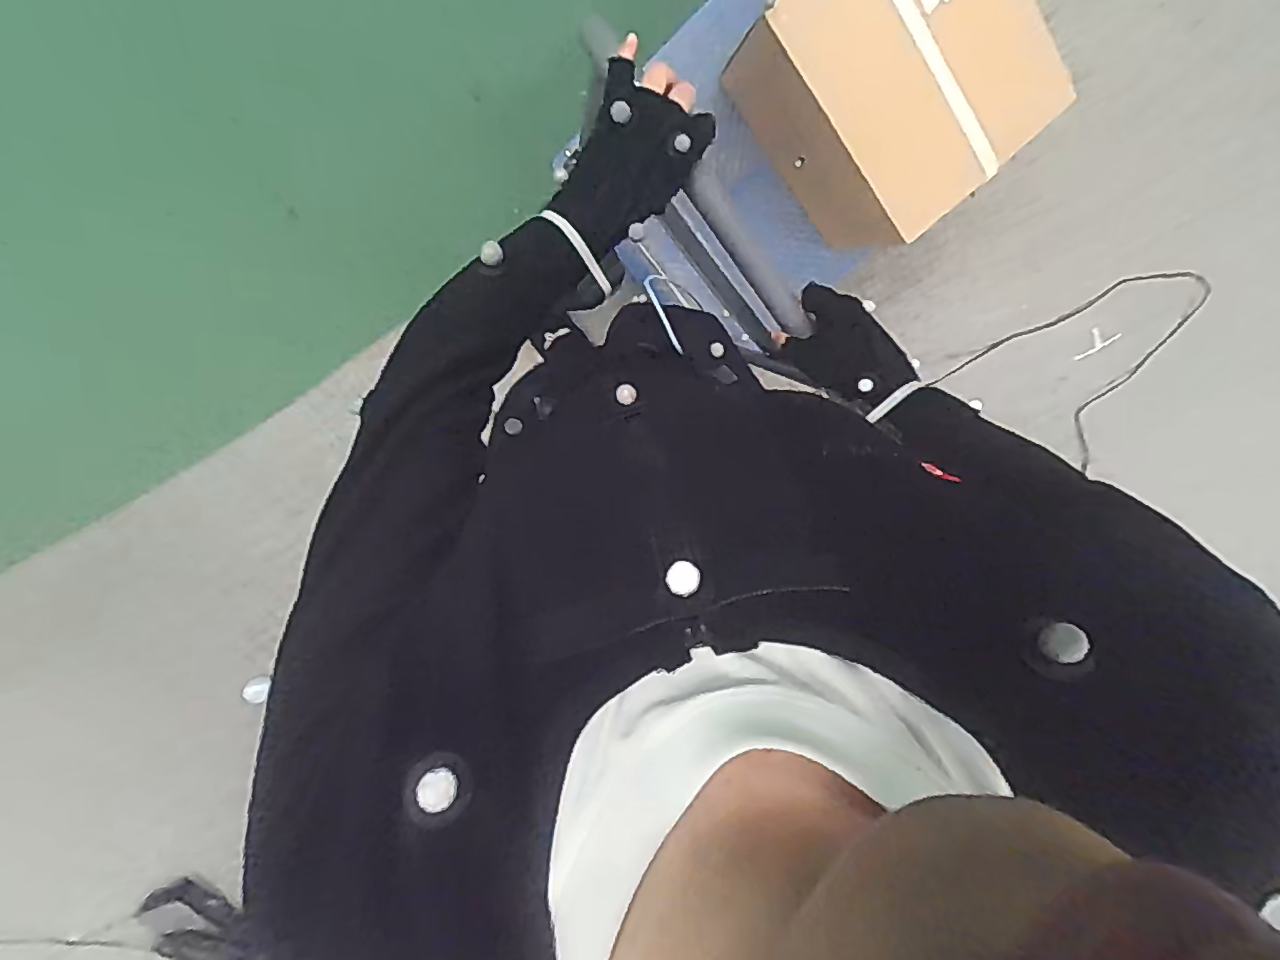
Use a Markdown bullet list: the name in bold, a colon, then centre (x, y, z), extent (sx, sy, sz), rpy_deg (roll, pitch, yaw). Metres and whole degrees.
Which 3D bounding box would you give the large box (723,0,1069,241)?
- **large box**: centre (0.406, -0.682, 0.936), extent (0.320, 0.320, 0.408), rpy_deg (-41, 109, 11)
